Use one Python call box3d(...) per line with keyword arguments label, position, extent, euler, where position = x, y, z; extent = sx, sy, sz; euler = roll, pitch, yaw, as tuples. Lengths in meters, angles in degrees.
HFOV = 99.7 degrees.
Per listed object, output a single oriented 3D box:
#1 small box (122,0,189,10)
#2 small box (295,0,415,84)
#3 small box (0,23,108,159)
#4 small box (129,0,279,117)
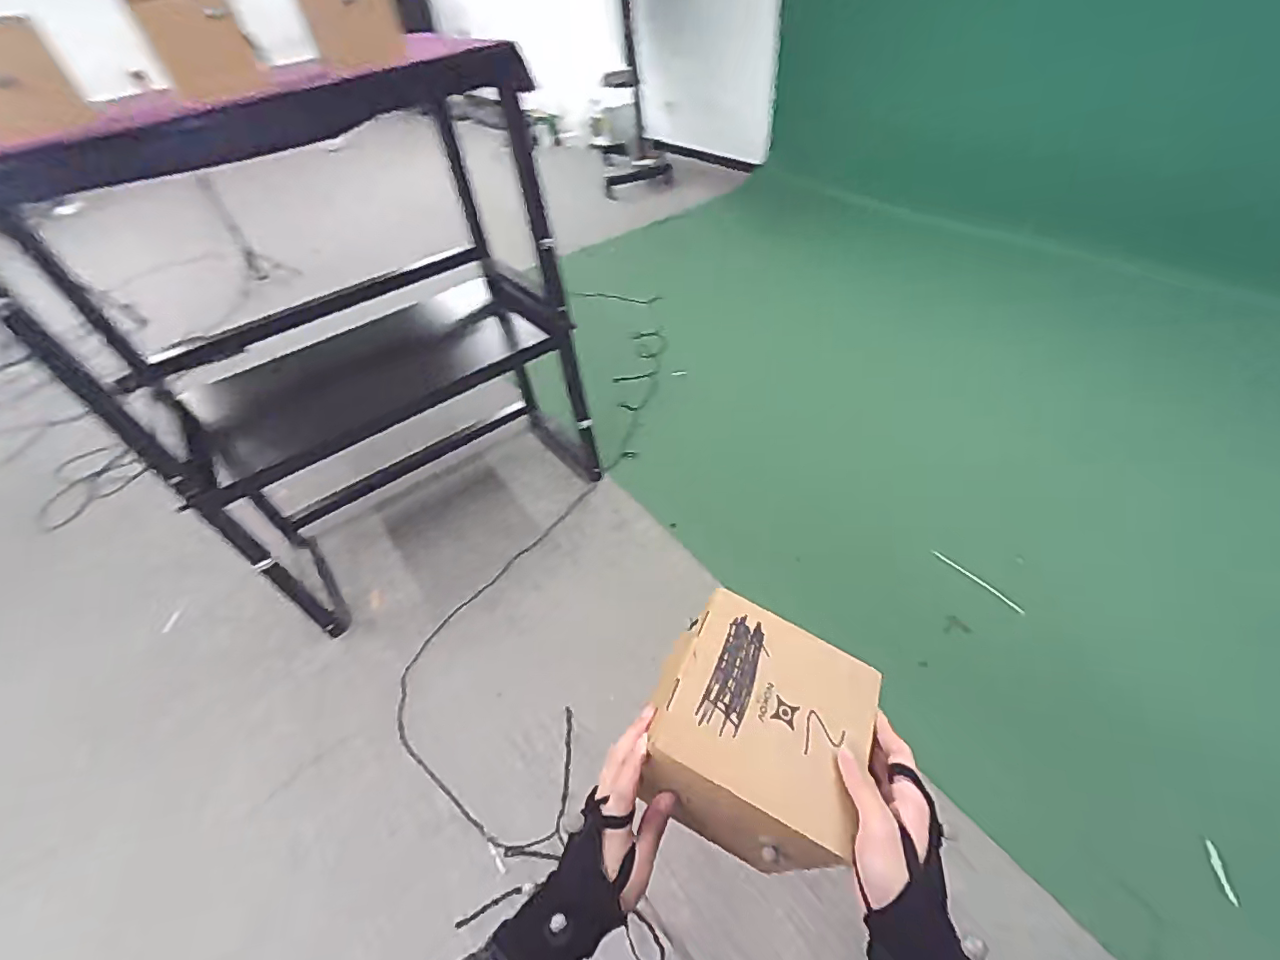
box3d(label="small box", position=(-0.908, -0.985, 0.997), extent=(0.179, 0.176, 0.168), euler=(-31, 49, -22))
box3d(label="small box", position=(-0.641, -1.013, 1.217), extent=(0.179, 0.176, 0.168), euler=(-28, 48, -18))
box3d(label="small box", position=(-1.130, -0.714, 0.989), extent=(0.179, 0.176, 0.168), euler=(-34, 49, -22))
box3d(label="small box", position=(-0.890, -0.867, 1.111), extent=(0.179, 0.176, 0.168), euler=(-32, 49, -22))
